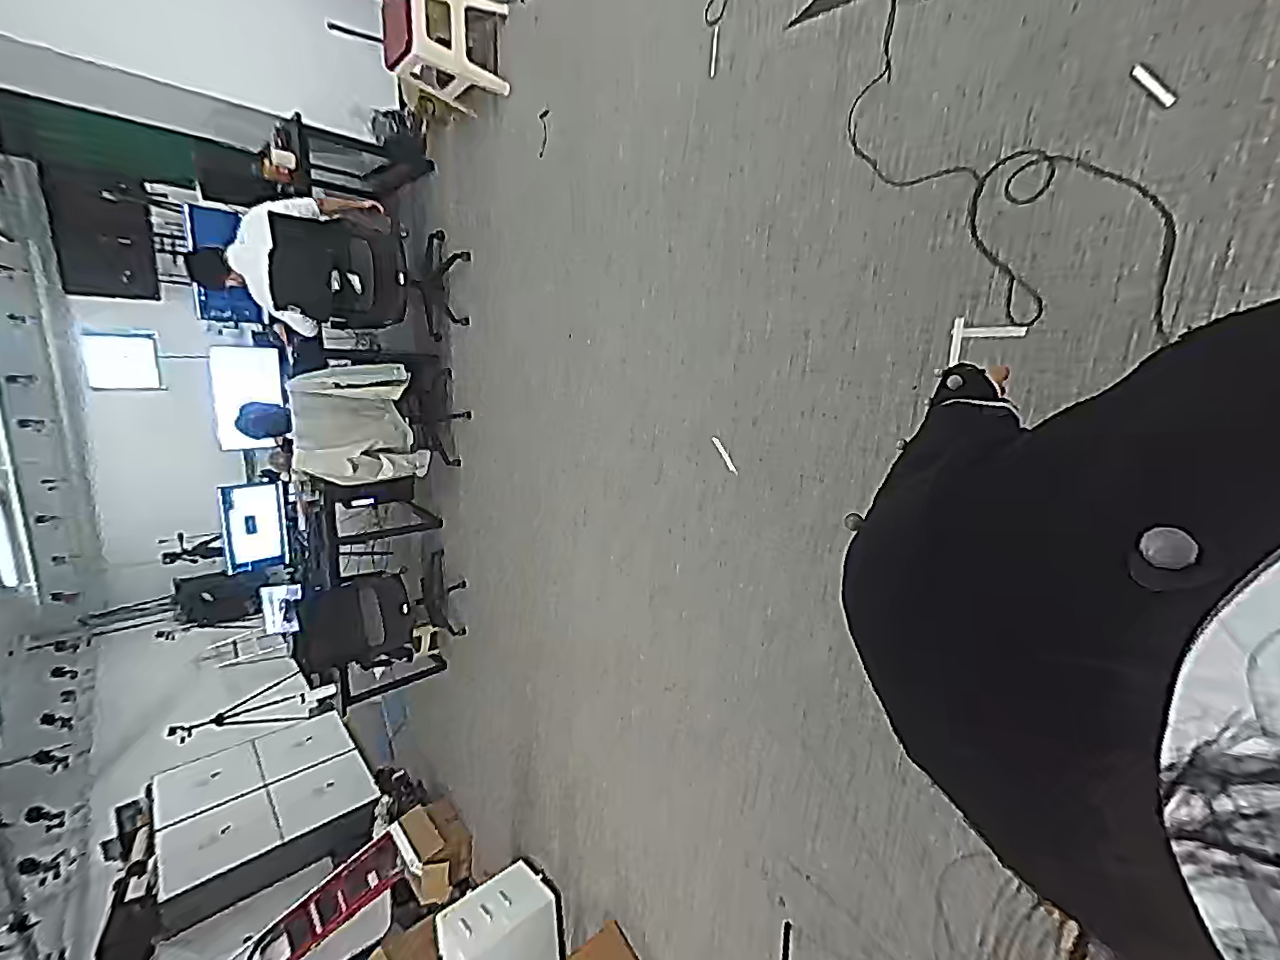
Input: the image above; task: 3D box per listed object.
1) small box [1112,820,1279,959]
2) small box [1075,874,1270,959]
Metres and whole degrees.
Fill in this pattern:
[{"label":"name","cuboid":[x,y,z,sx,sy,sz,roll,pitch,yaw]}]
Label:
[{"label":"small box","cuboid":[0.741,0.617,0.729,0.168,0.176,0.179,12,103,45]},{"label":"small box","cuboid":[0.611,0.624,0.627,0.168,0.176,0.179,17,106,44]}]
